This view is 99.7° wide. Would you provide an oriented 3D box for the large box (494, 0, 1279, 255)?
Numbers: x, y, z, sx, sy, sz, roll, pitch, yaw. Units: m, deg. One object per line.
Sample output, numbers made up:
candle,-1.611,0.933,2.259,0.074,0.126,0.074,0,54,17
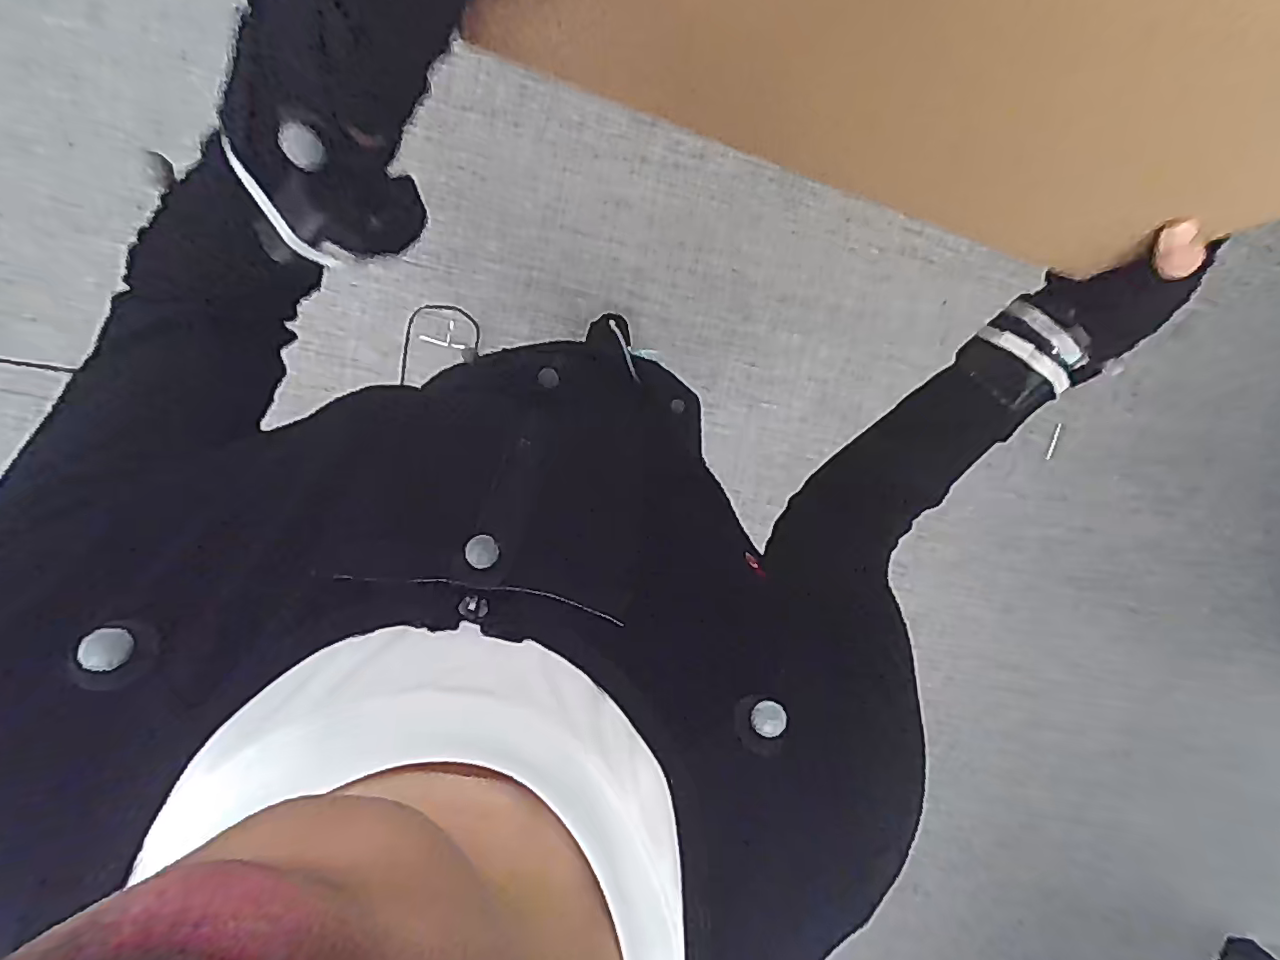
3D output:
large box,0.187,-0.313,0.156,0.408,0.320,0.320,5,88,-23
